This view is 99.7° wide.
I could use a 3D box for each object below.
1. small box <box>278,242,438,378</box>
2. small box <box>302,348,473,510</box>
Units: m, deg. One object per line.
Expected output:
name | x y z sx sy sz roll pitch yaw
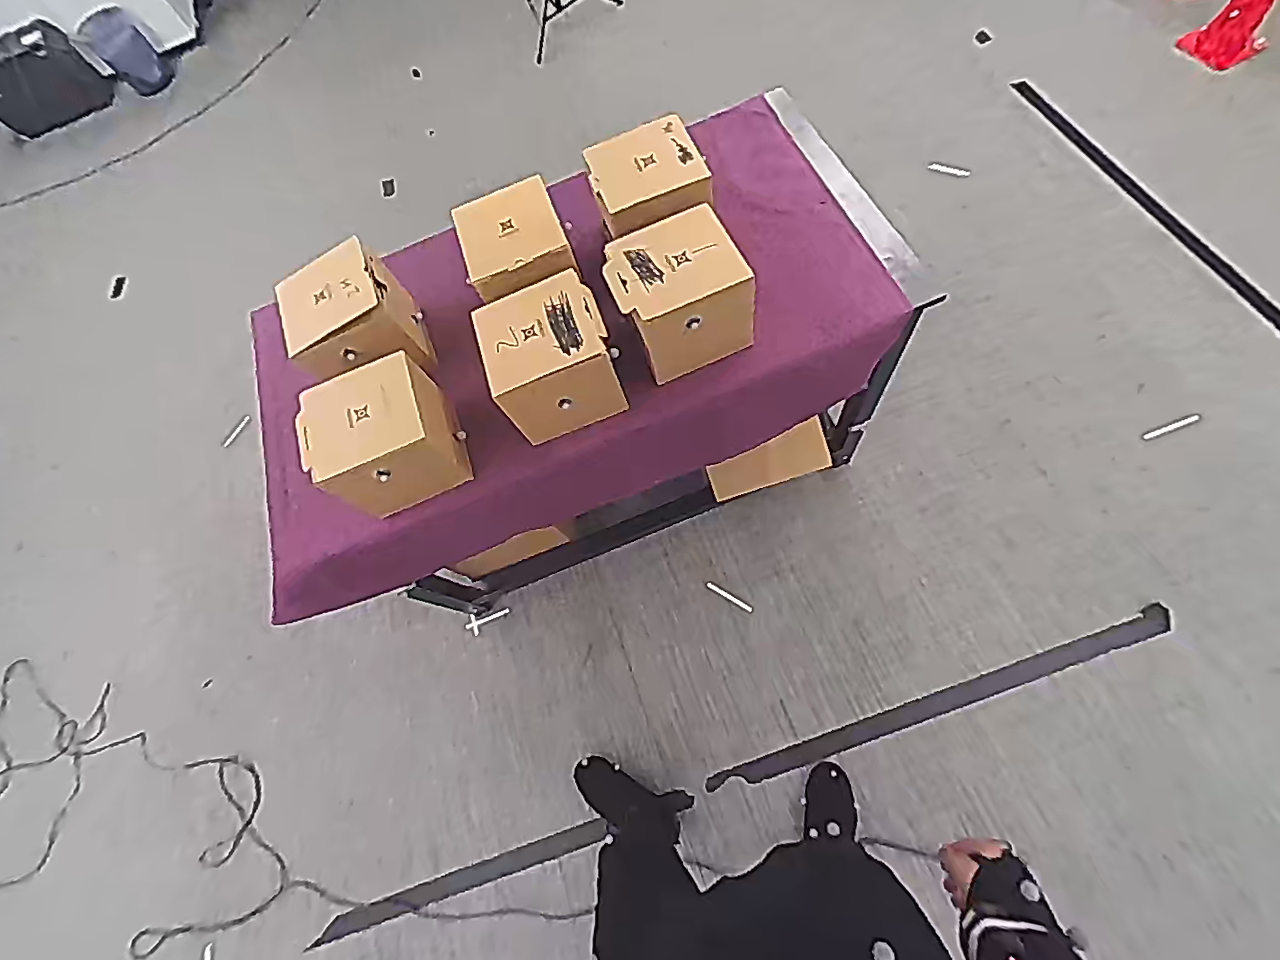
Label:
small box | -0.492 -0.272 0.956 0.179 0.176 0.168 -24 68 0
small box | -0.396 -0.071 0.863 0.179 0.176 0.168 -22 68 0
